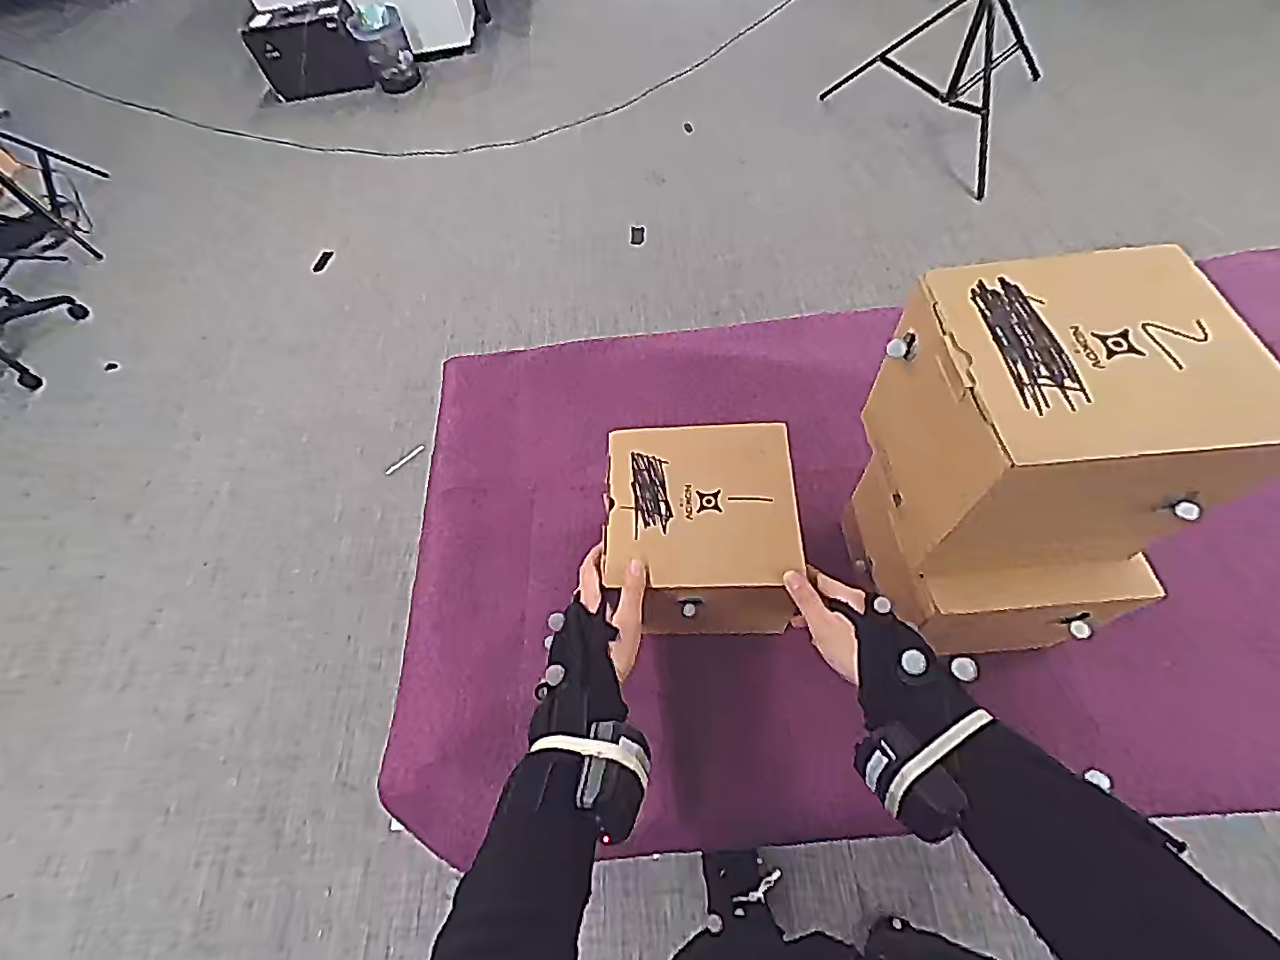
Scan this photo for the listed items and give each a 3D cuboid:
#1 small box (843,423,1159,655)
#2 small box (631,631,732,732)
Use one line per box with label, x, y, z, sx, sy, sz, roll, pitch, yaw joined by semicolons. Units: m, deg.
small box;0.320;0.066;0.529;0.179;0.176;0.168;-6;58;4
small box;0.080;0.406;1.081;0.179;0.176;0.168;-6;62;3
